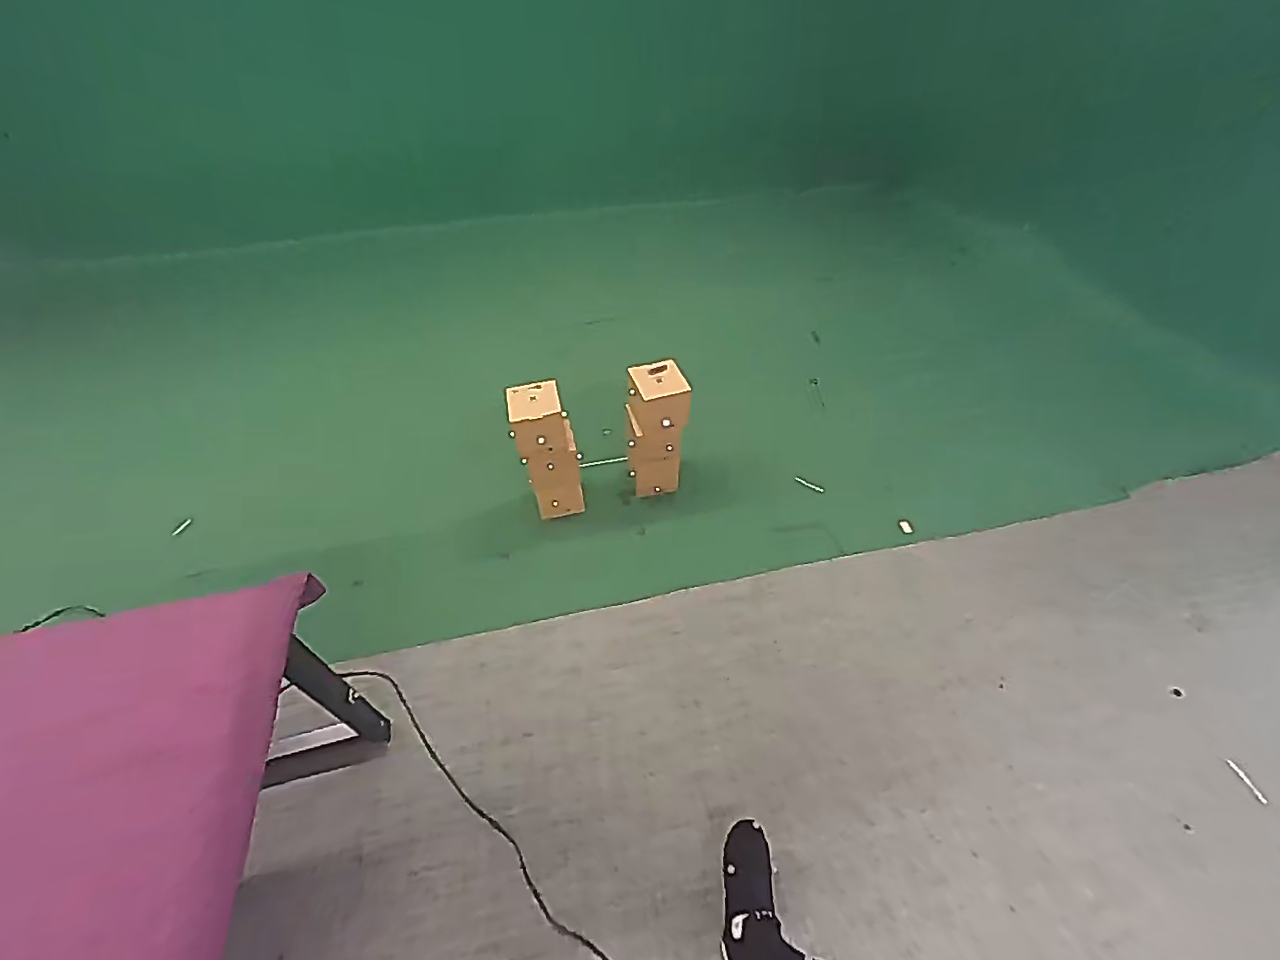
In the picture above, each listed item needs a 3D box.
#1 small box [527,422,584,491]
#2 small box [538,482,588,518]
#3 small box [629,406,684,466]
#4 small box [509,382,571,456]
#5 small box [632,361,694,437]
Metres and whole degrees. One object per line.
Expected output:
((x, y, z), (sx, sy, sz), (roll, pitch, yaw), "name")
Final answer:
((-0.303, -0.079, 1.911), (0.179, 0.176, 0.168), (-11, 49, -8), "small box")
((-0.297, 0.027, 2.037), (0.168, 0.176, 0.179), (-12, 48, -8), "small box")
((0.058, -0.167, 1.978), (0.168, 0.176, 0.179), (-10, 49, -9), "small box")
((-0.330, -0.196, 1.797), (0.168, 0.176, 0.179), (-11, 49, -7), "small box")
((0.071, -0.277, 1.858), (0.168, 0.176, 0.179), (-15, 52, -12), "small box")
